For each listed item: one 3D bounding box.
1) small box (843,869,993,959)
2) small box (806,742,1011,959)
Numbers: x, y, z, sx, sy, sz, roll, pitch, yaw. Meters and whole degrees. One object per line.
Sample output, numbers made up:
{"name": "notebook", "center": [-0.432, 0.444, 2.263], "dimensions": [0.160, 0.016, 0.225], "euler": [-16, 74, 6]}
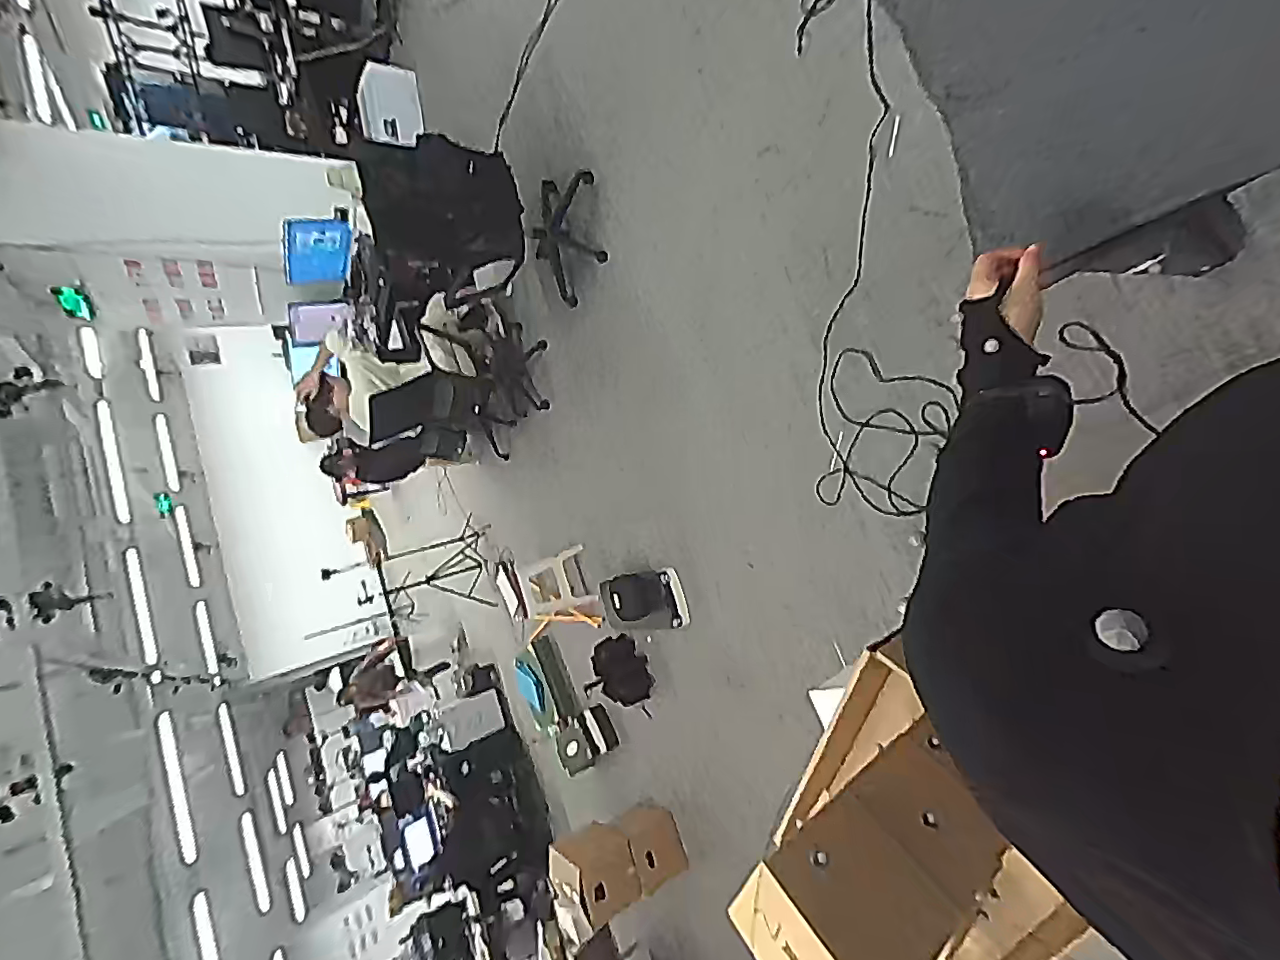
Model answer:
{"name": "small box", "center": [0.500, 0.723, 0.971], "dimensions": [0.168, 0.176, 0.179], "euler": [29, 122, 47]}
{"name": "small box", "center": [0.379, 0.513, 0.778], "dimensions": [0.179, 0.176, 0.168], "euler": [39, 133, 39]}
